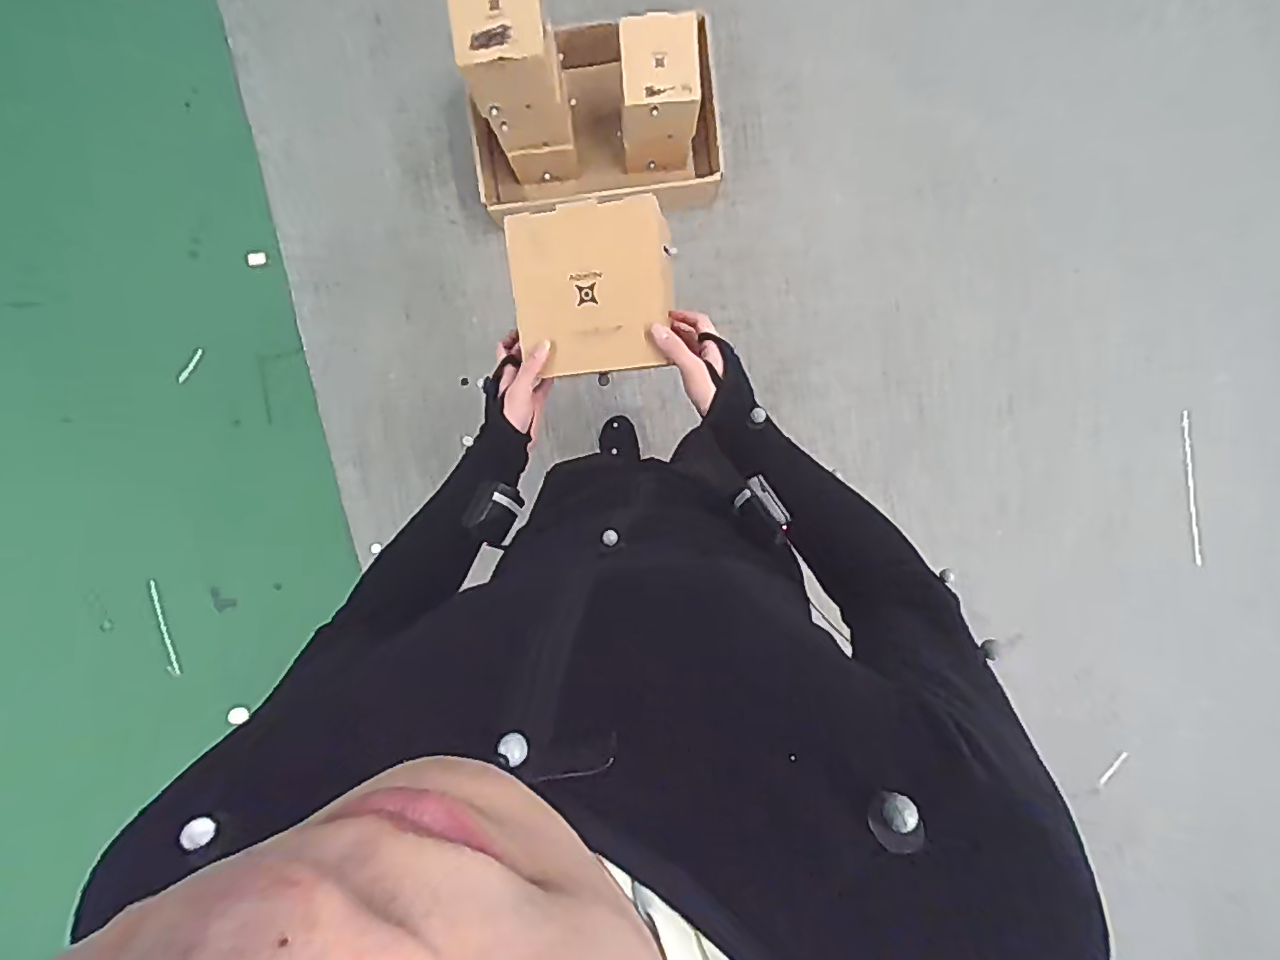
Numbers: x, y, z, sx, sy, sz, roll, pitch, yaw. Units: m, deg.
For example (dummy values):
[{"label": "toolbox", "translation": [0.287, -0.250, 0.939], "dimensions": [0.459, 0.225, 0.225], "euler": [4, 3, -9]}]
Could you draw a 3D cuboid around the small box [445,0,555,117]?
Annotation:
[{"label": "small box", "translation": [-0.268, -0.846, 1.062], "dimensions": [0.168, 0.176, 0.179], "euler": [-7, 94, 0]}]

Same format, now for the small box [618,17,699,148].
[{"label": "small box", "translation": [0.039, -0.887, 1.220], "dimensions": [0.168, 0.176, 0.179], "euler": [-4, 96, 1]}]

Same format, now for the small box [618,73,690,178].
[{"label": "small box", "translation": [0.033, -0.906, 1.383], "dimensions": [0.168, 0.176, 0.179], "euler": [-6, 97, 1]}]

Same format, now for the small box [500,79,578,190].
[{"label": "small box", "translation": [-0.257, -0.879, 1.388], "dimensions": [0.168, 0.176, 0.179], "euler": [-6, 95, 1]}]

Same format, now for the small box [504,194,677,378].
[{"label": "small box", "translation": [-0.047, -0.218, 0.655], "dimensions": [0.168, 0.176, 0.179], "euler": [-4, 101, 9]}]
